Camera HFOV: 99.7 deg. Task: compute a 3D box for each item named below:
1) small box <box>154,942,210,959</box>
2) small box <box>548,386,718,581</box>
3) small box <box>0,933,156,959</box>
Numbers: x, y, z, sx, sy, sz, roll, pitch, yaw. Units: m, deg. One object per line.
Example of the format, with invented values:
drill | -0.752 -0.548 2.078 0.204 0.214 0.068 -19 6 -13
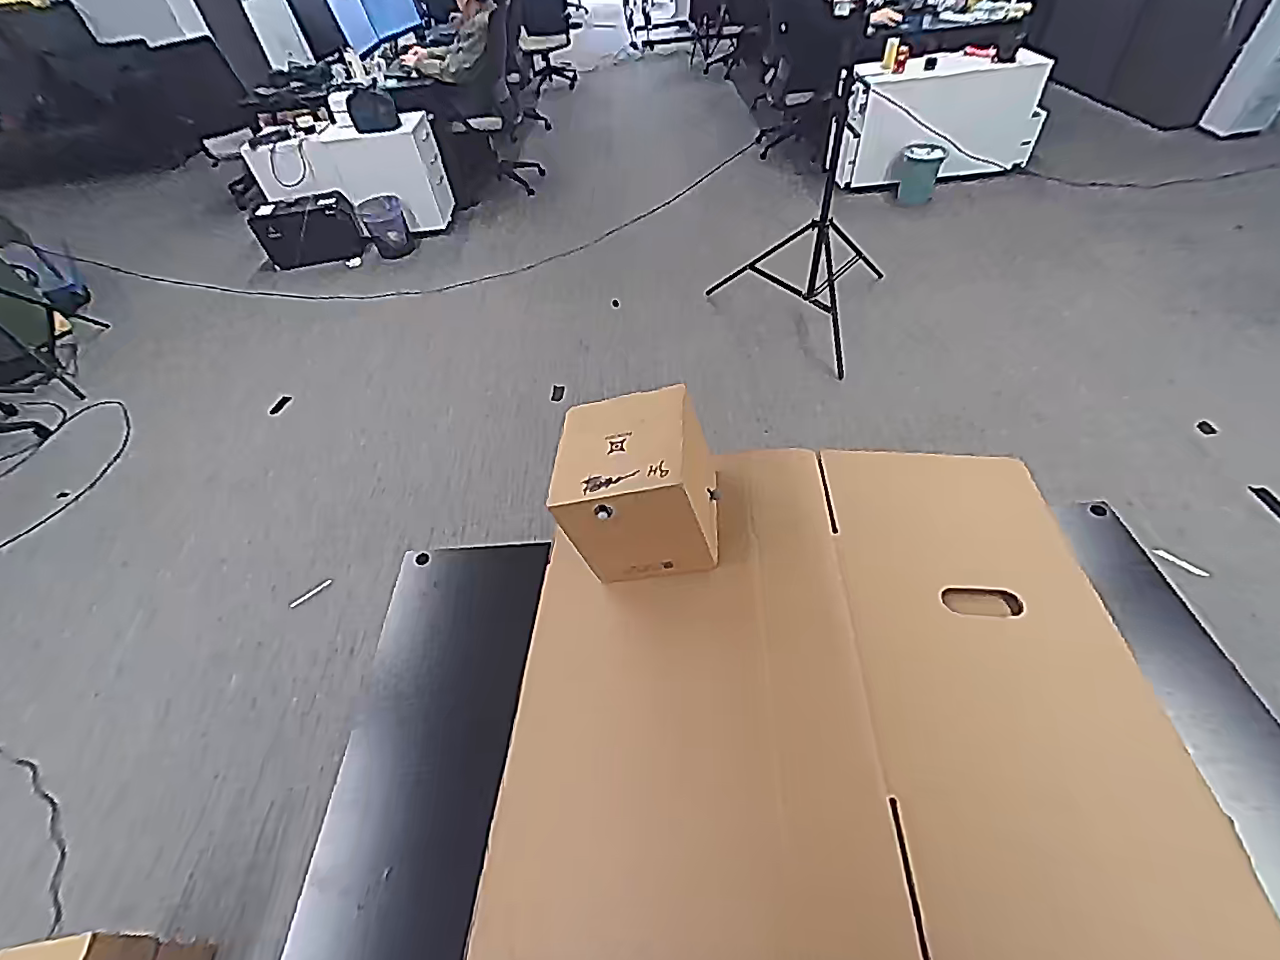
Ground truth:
small box | -1.011 1.045 1.075 0.168 0.176 0.179 -8 49 0
small box | 0.002 0.008 0.708 0.168 0.176 0.179 -11 45 17
small box | -1.026 0.933 0.958 0.168 0.176 0.179 -9 47 -3
